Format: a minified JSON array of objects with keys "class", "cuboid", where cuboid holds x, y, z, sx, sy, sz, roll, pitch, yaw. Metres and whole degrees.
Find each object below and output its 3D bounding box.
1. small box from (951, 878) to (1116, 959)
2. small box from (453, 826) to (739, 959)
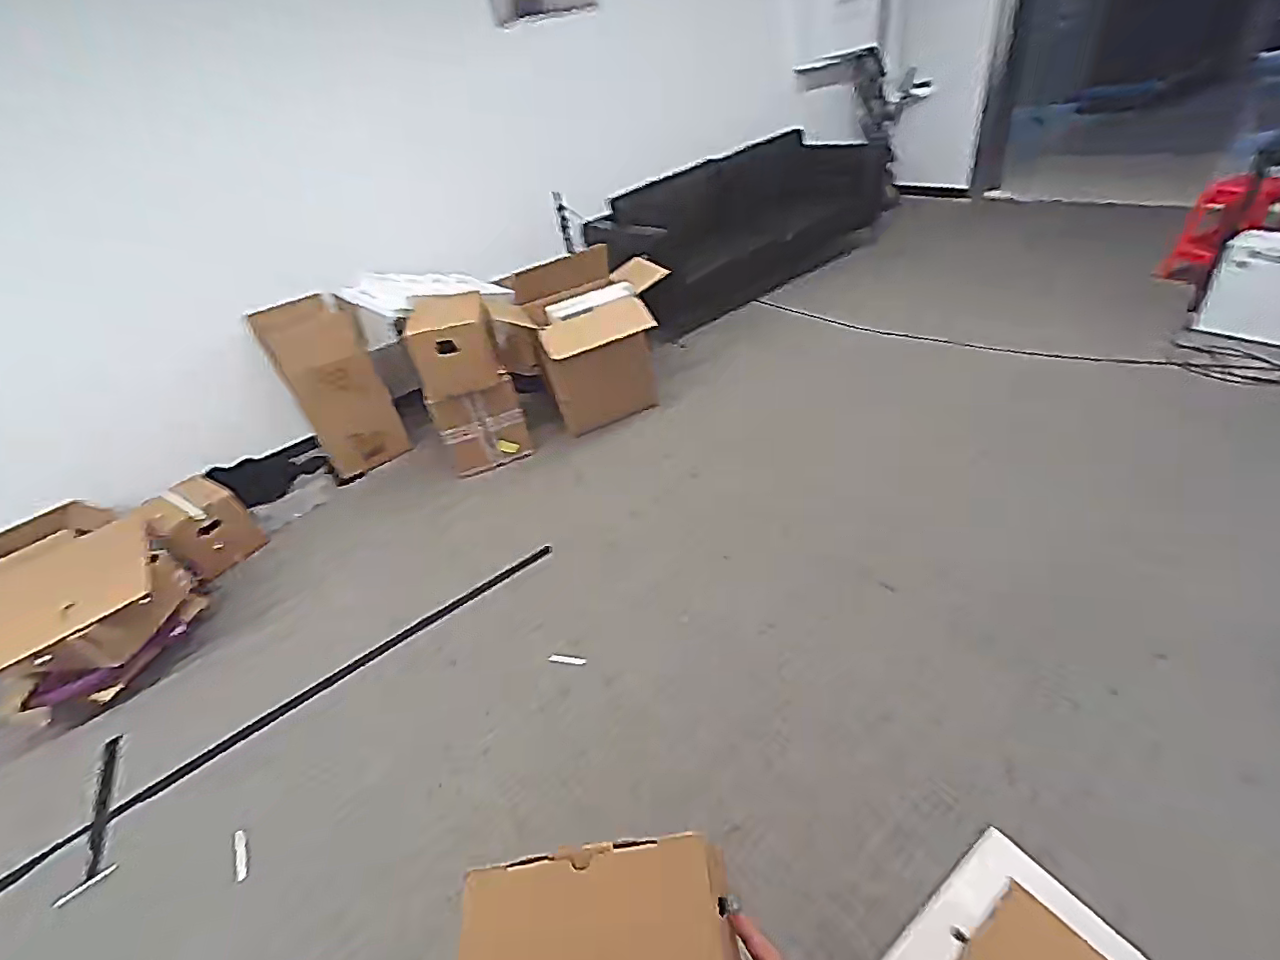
[{"class":"small box","cuboid":[0.400,0.563,0.544,0.179,0.176,0.168,-31,41,-23]},{"class":"small box","cuboid":[-0.015,0.355,0.366,0.168,0.176,0.179,-13,51,4]}]
